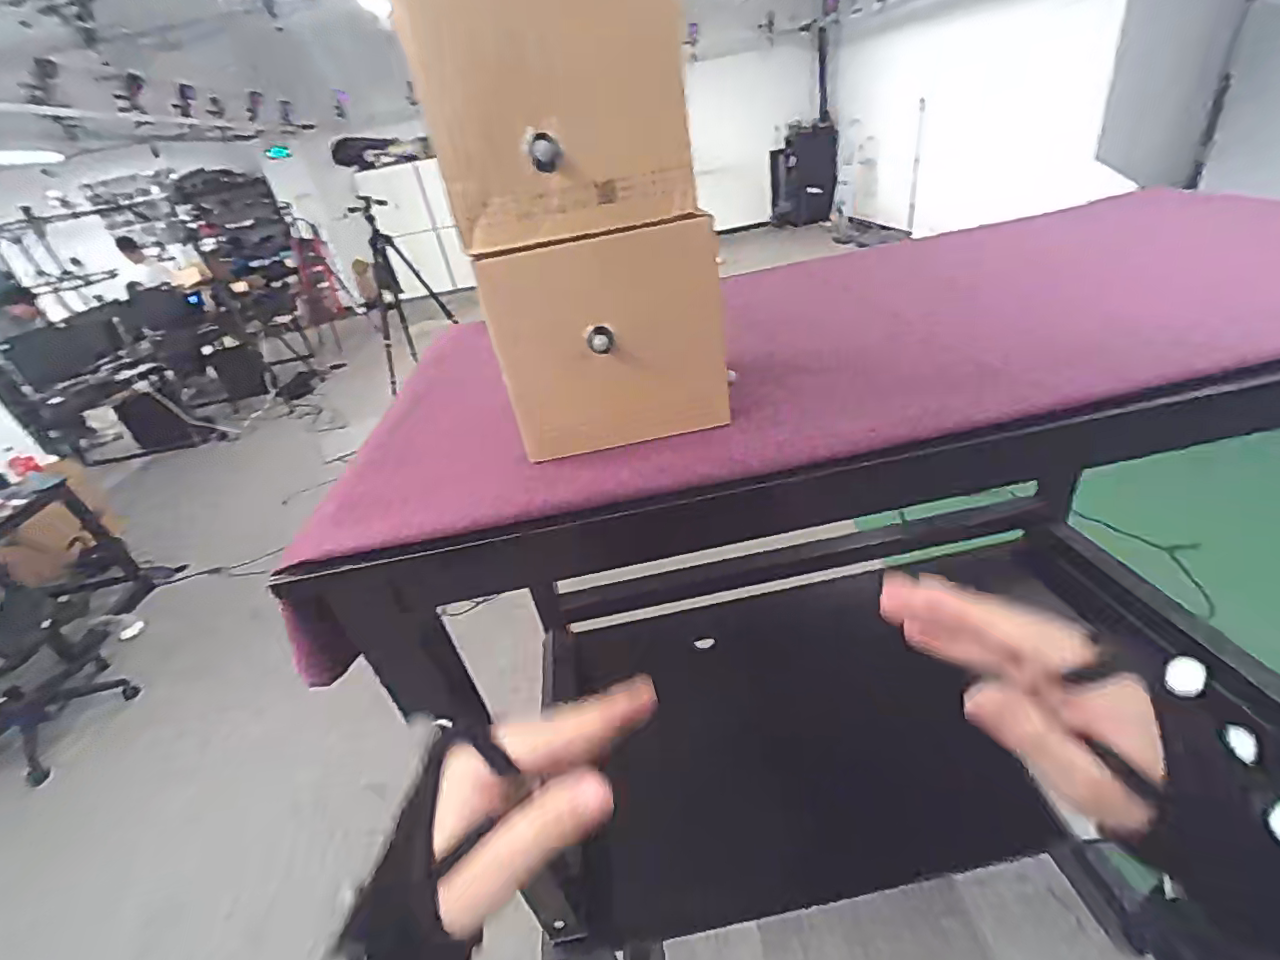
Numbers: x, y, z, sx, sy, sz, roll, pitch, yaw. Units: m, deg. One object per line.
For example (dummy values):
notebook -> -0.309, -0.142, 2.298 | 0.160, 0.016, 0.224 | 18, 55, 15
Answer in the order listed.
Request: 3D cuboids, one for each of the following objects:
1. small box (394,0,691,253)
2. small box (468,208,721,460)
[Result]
small box -> -0.062, -0.278, 0.406 | 0.168, 0.176, 0.179 | -11, 31, -1
small box -> -0.030, -0.138, 0.483 | 0.179, 0.176, 0.168 | -12, 31, 0
